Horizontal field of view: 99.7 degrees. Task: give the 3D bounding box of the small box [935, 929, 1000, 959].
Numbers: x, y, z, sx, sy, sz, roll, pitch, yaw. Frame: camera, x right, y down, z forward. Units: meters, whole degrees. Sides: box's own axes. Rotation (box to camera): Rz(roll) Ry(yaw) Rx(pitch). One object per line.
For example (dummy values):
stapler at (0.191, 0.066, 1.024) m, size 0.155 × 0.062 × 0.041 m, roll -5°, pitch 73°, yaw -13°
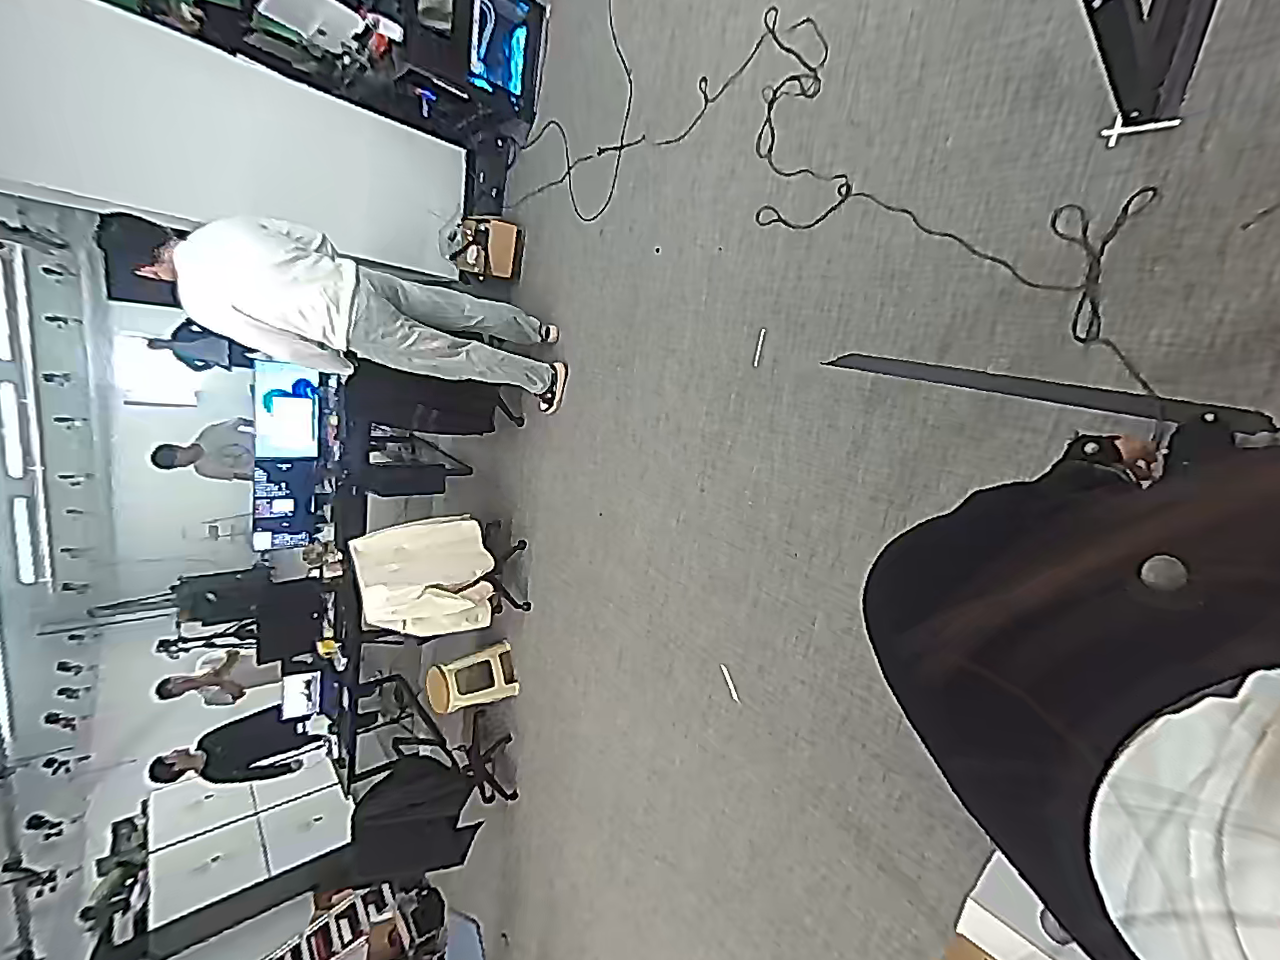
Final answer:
small box at (0.583, 0.954, 0.936) m, size 0.168 × 0.176 × 0.179 m, roll 19°, pitch 107°, yaw 44°
